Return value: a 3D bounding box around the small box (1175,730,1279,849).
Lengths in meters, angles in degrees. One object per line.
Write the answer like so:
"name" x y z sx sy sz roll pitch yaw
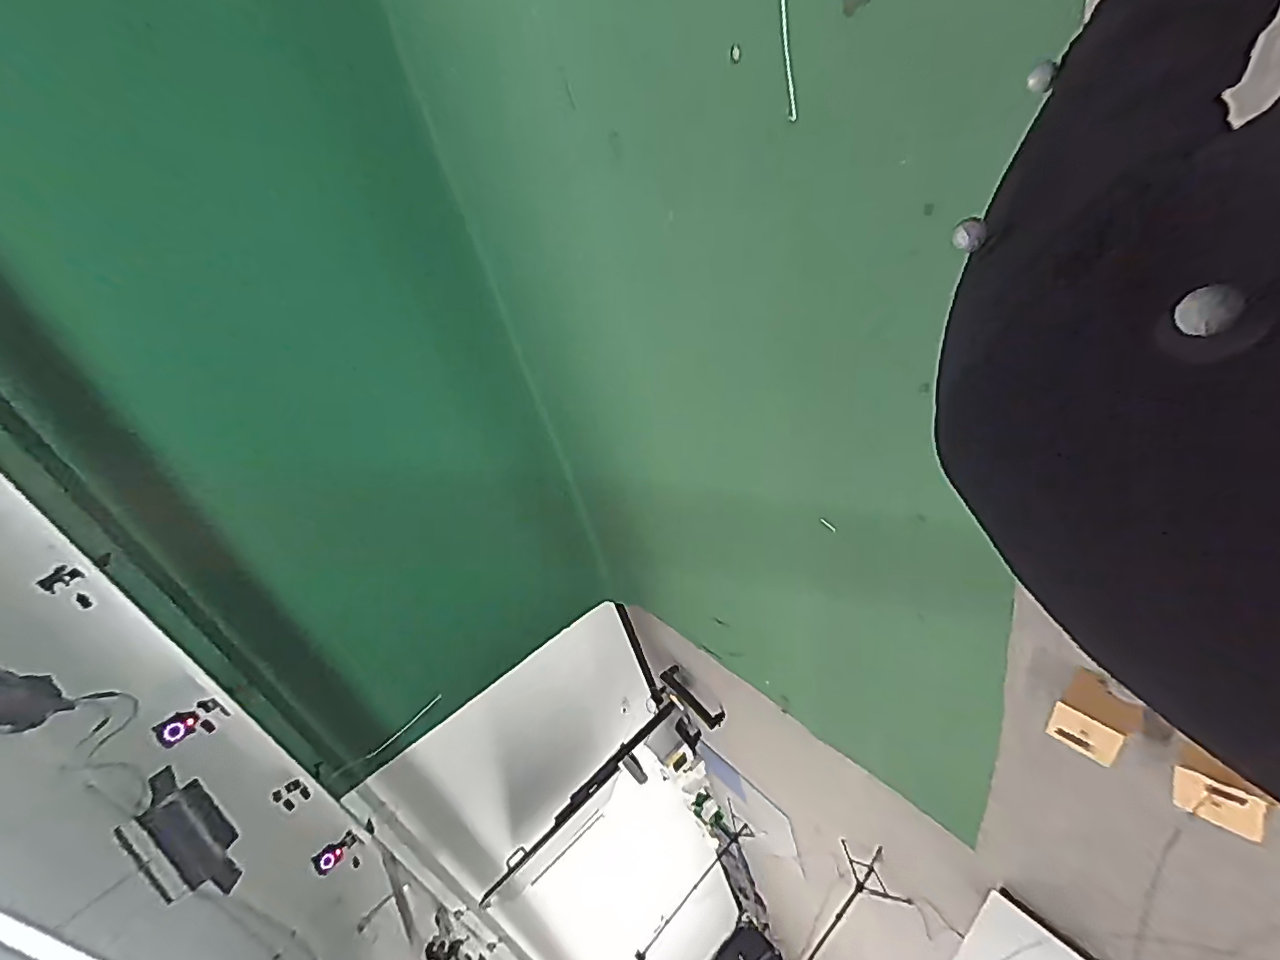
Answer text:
"small box" 1.555 0.806 1.426 0.168 0.176 0.179 15 132 55
